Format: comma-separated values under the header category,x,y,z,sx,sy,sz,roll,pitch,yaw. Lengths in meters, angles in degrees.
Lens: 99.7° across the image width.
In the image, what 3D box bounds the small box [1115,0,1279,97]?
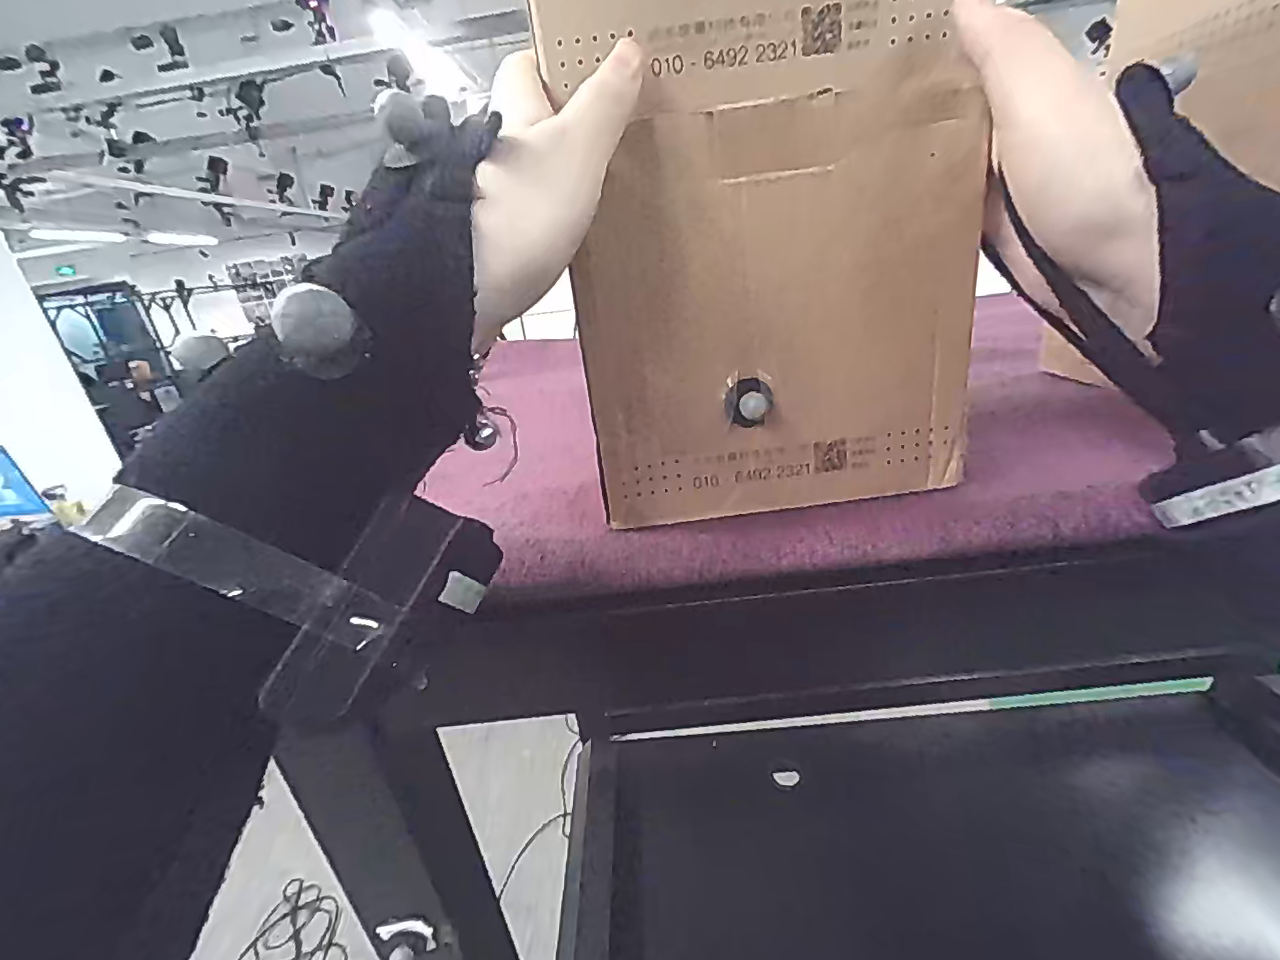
category,x,y,z,sx,sy,sz,roll,pitch,yaw
small box,0.361,-0.292,0.233,0.168,0.176,0.179,-6,23,6

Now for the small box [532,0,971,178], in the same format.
category,x,y,z,sx,sy,sz,roll,pitch,yaw
small box,0.033,-0.254,0.253,0.168,0.176,0.179,-8,21,0
